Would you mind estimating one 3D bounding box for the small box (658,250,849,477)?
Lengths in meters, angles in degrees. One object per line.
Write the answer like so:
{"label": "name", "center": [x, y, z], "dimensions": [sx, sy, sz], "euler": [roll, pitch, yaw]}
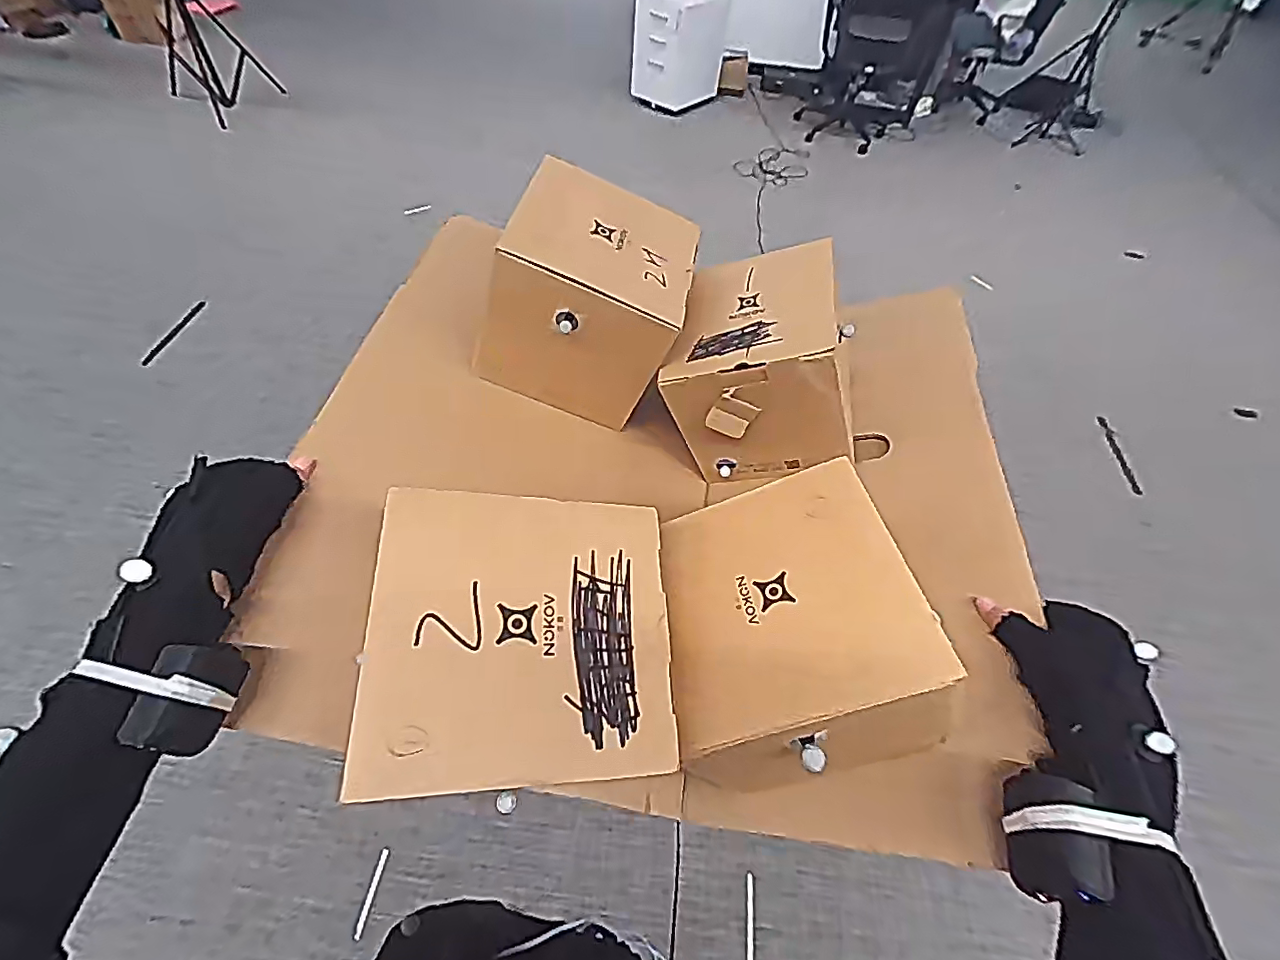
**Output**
{"label": "small box", "center": [0.136, -0.116, 0.602], "dimensions": [0.168, 0.176, 0.179], "euler": [-5, 51, 24]}
